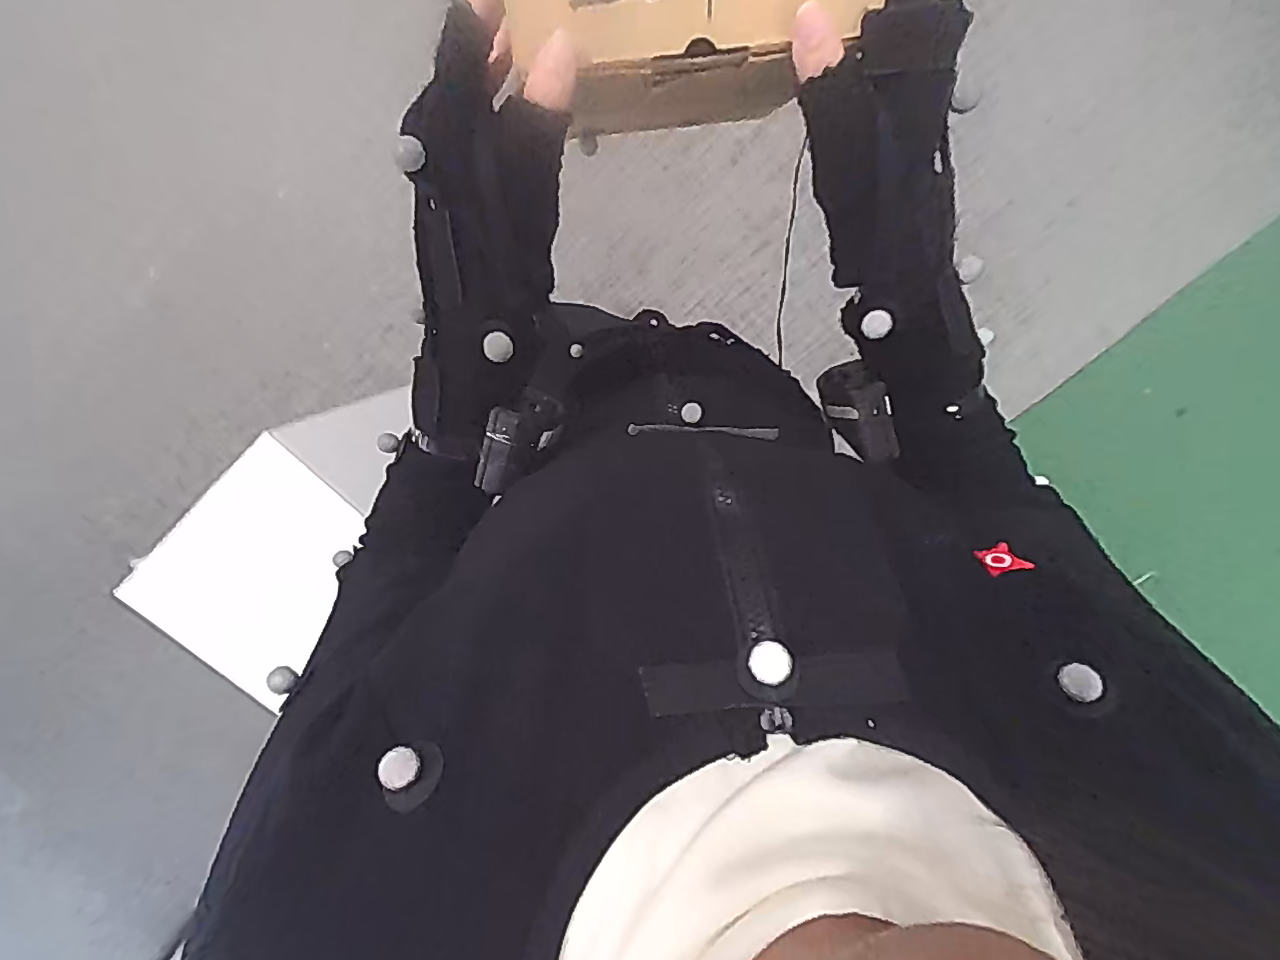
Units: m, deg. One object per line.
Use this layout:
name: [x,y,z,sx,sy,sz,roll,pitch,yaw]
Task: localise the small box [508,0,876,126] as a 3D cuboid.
small box: [0.013,-0.303,0.283,0.168,0.176,0.179,-7,113,-3]
